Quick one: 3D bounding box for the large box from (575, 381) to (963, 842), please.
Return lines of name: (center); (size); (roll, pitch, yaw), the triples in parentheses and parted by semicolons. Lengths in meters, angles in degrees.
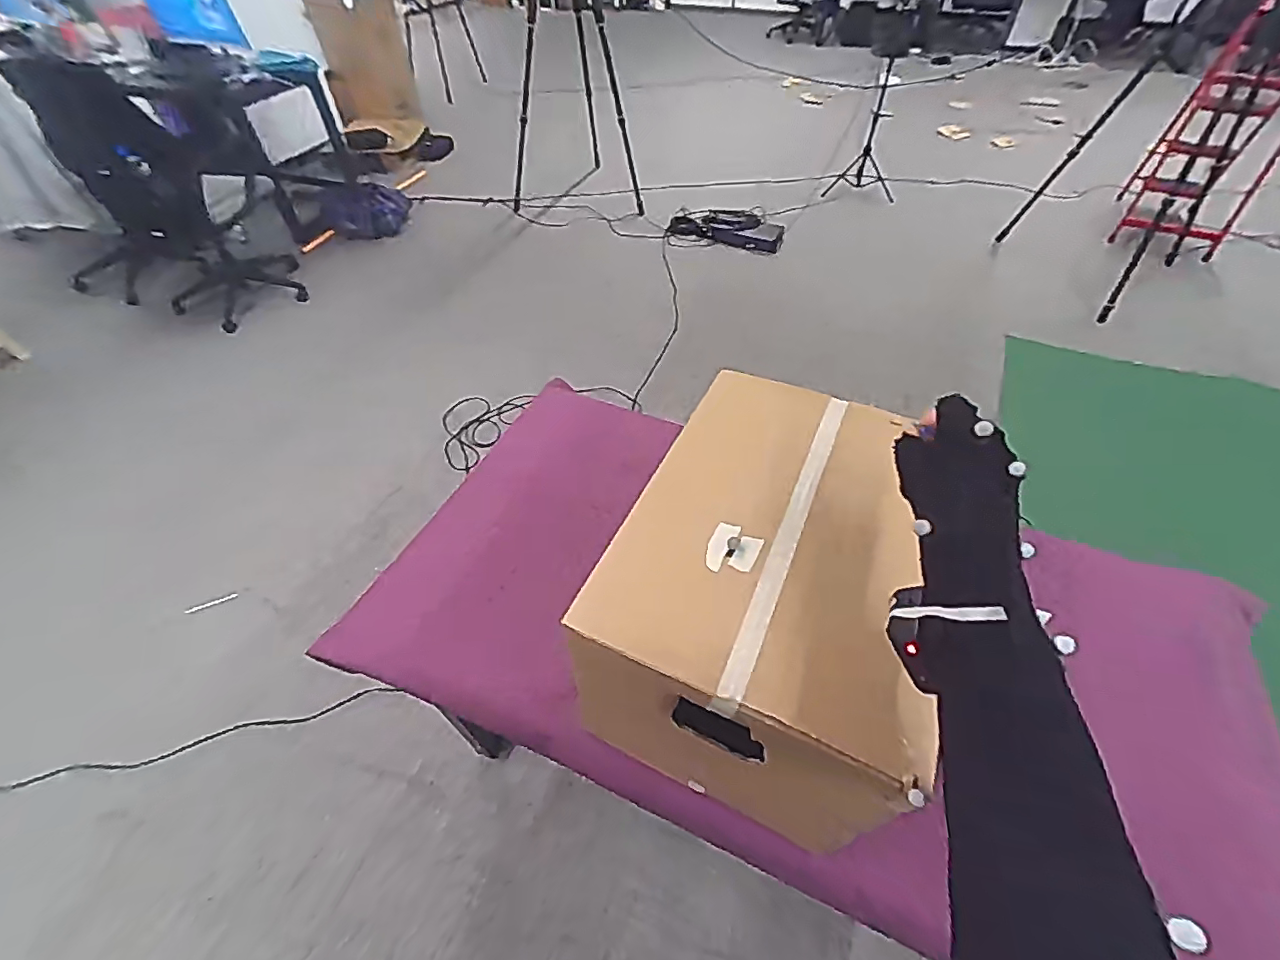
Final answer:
large box: (0.159, 0.148, 0.679); (0.320, 0.320, 0.408); (20, 53, 17)
